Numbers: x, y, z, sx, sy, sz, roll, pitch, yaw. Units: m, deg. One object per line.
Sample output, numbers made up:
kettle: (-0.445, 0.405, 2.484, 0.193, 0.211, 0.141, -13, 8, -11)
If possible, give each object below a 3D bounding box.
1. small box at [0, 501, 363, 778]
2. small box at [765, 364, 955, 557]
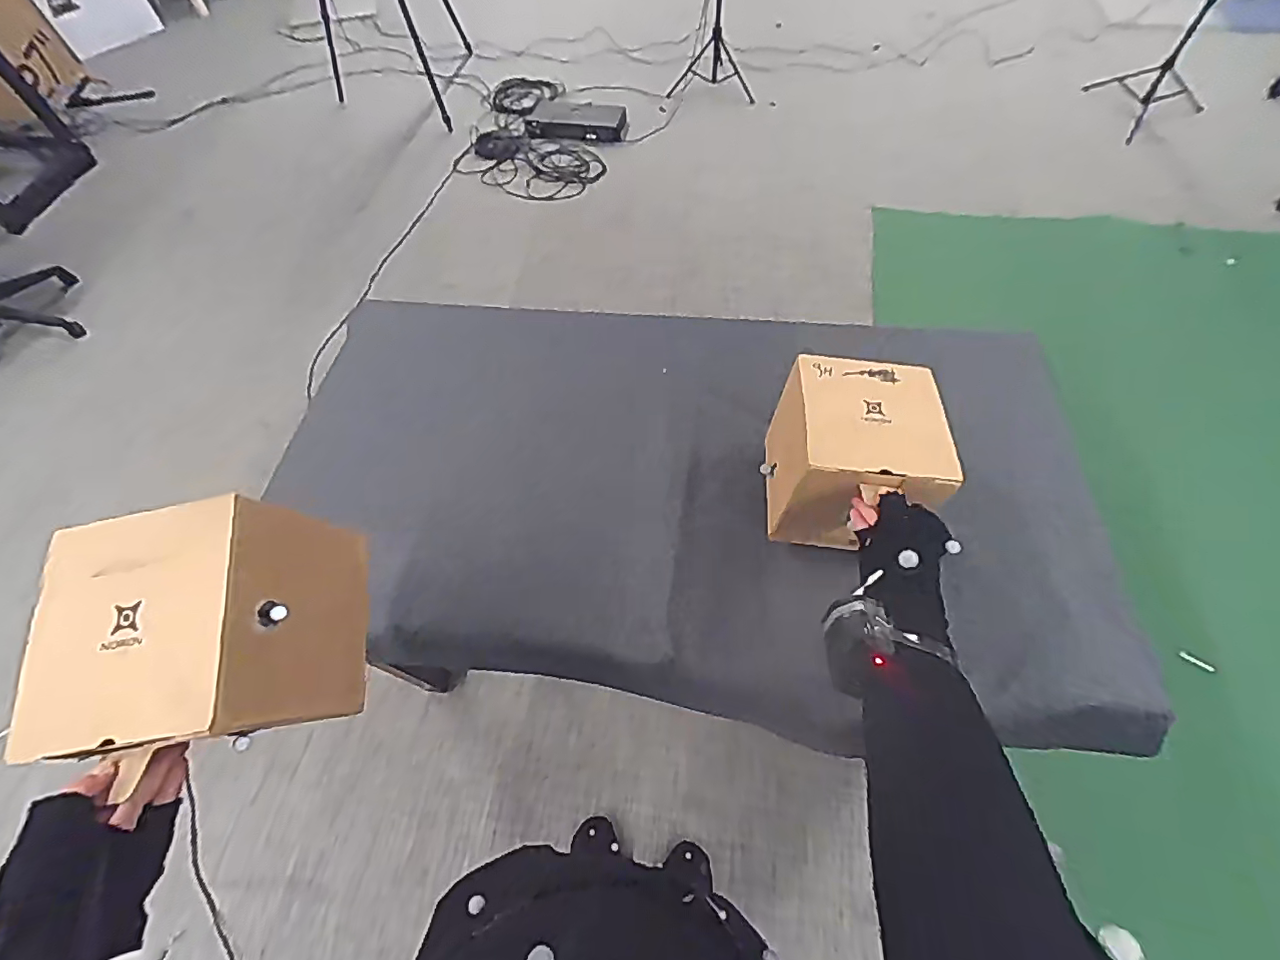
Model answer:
small box: (-0.367, 0.136, 0.470, 0.168, 0.176, 0.179, -12, 69, 4)
small box: (0.259, -0.019, 0.685, 0.168, 0.176, 0.179, 7, 55, 1)
